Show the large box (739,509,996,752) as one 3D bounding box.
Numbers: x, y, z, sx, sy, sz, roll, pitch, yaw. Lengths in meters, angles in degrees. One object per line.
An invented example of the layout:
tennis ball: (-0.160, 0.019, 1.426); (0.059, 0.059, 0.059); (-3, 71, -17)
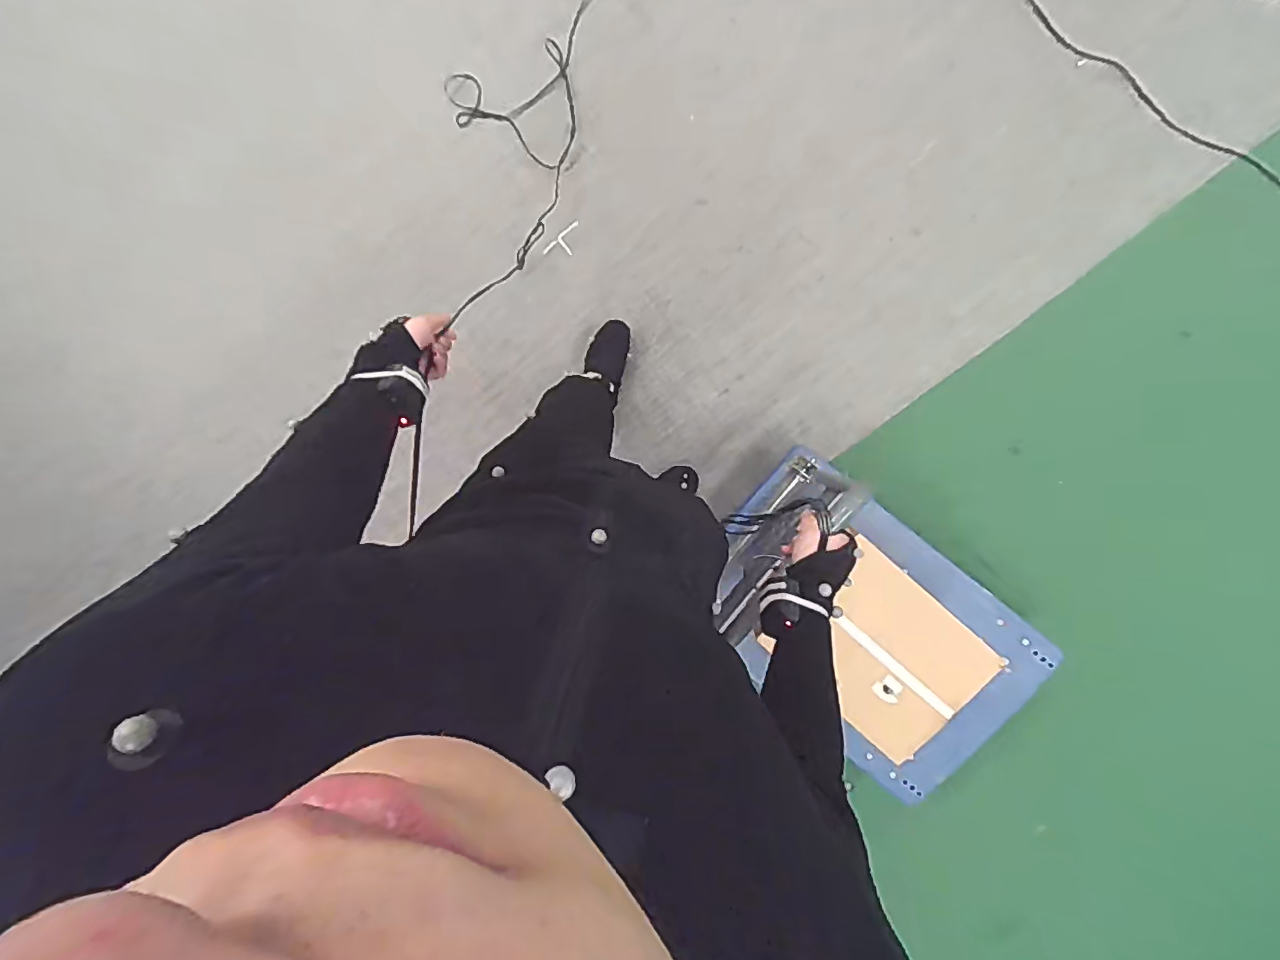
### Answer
large box: (0.496, 0.326, 1.275); (0.408, 0.320, 0.320); (42, 98, -1)
